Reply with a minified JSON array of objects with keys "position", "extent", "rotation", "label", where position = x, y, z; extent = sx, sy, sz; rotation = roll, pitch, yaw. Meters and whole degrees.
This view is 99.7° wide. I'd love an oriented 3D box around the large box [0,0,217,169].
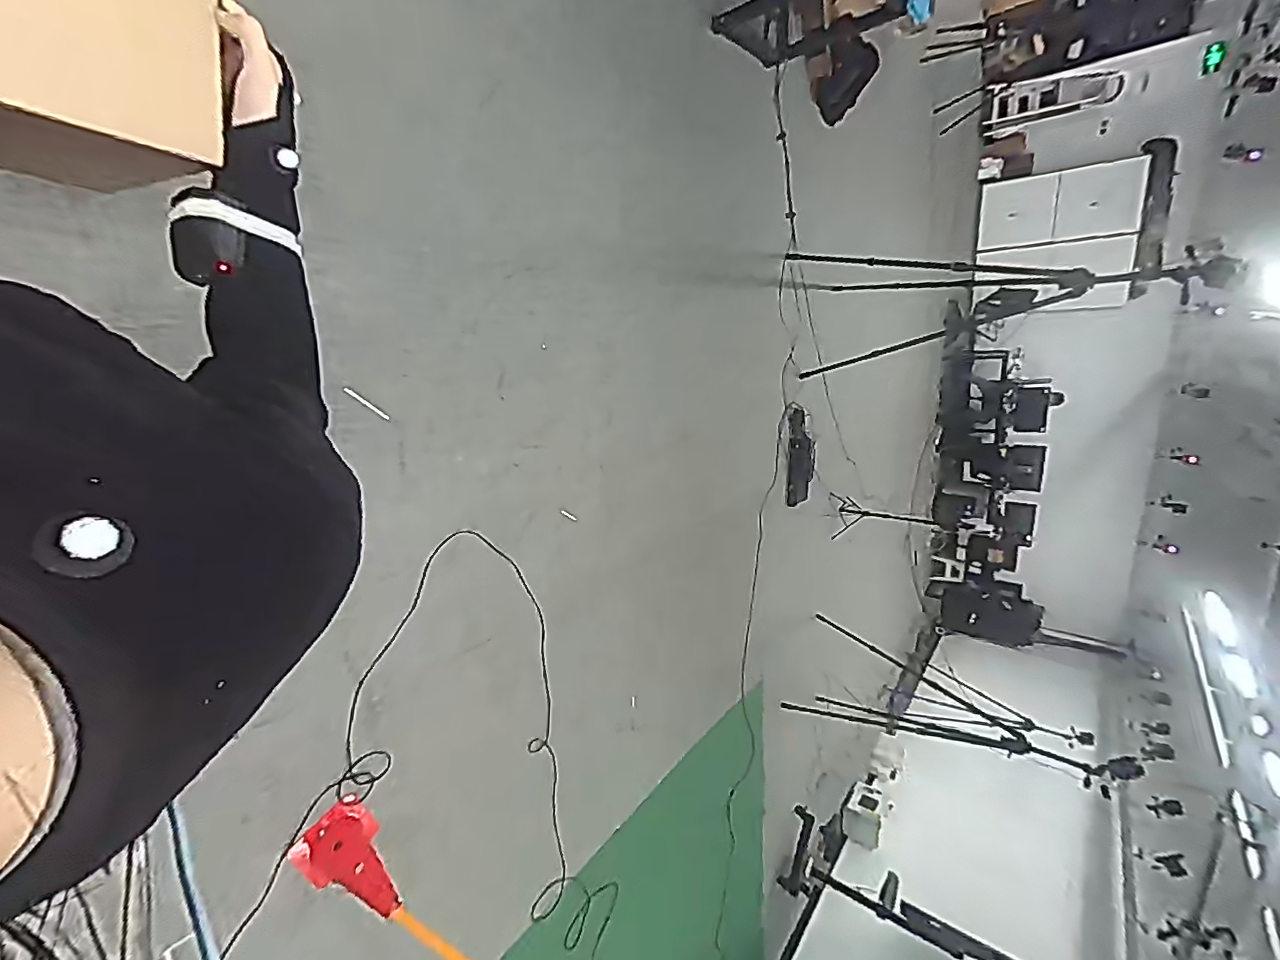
[{"position":[-0.564,-0.424,0.330],"extent":[0.408,0.320,0.320],"rotation":[-13,113,-54],"label":"large box"}]
